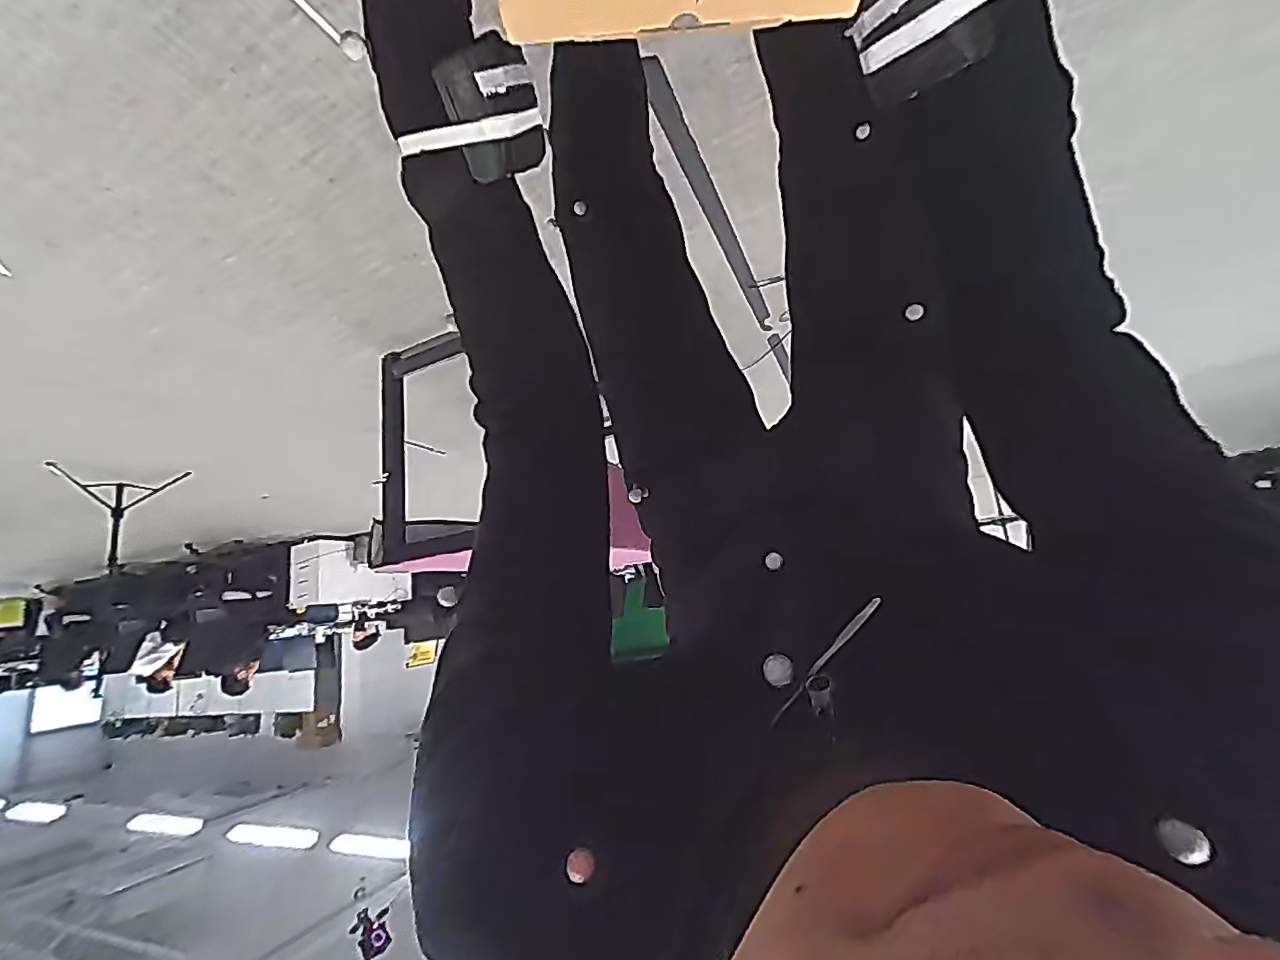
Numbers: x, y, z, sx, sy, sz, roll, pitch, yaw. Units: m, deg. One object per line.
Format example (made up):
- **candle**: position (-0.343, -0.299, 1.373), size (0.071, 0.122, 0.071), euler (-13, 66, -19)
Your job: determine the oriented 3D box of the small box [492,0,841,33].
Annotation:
- **small box**: position (0.008, -0.315, 0.192), size (0.168, 0.176, 0.179), euler (-10, 165, -6)
